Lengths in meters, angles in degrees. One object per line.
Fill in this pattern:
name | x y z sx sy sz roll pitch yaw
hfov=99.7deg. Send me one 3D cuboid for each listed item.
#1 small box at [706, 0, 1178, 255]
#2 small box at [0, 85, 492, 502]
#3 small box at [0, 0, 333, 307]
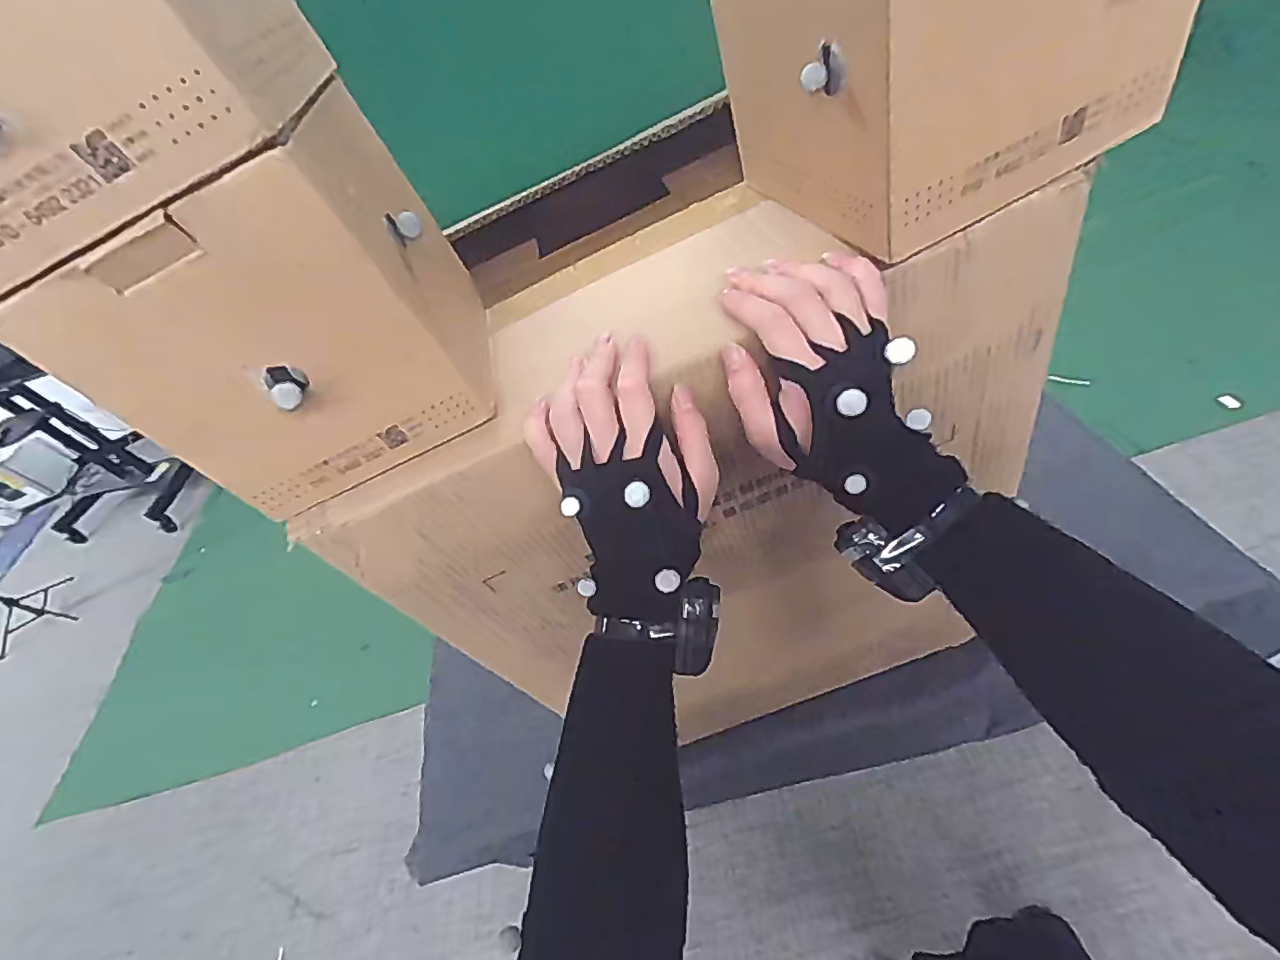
small box | 0.152 -0.251 0.295 0.168 0.176 0.179 -27 45 0
small box | -0.211 -0.108 0.350 0.168 0.176 0.179 -25 47 5
small box | -0.268 -0.207 0.232 0.168 0.176 0.179 -25 47 6
